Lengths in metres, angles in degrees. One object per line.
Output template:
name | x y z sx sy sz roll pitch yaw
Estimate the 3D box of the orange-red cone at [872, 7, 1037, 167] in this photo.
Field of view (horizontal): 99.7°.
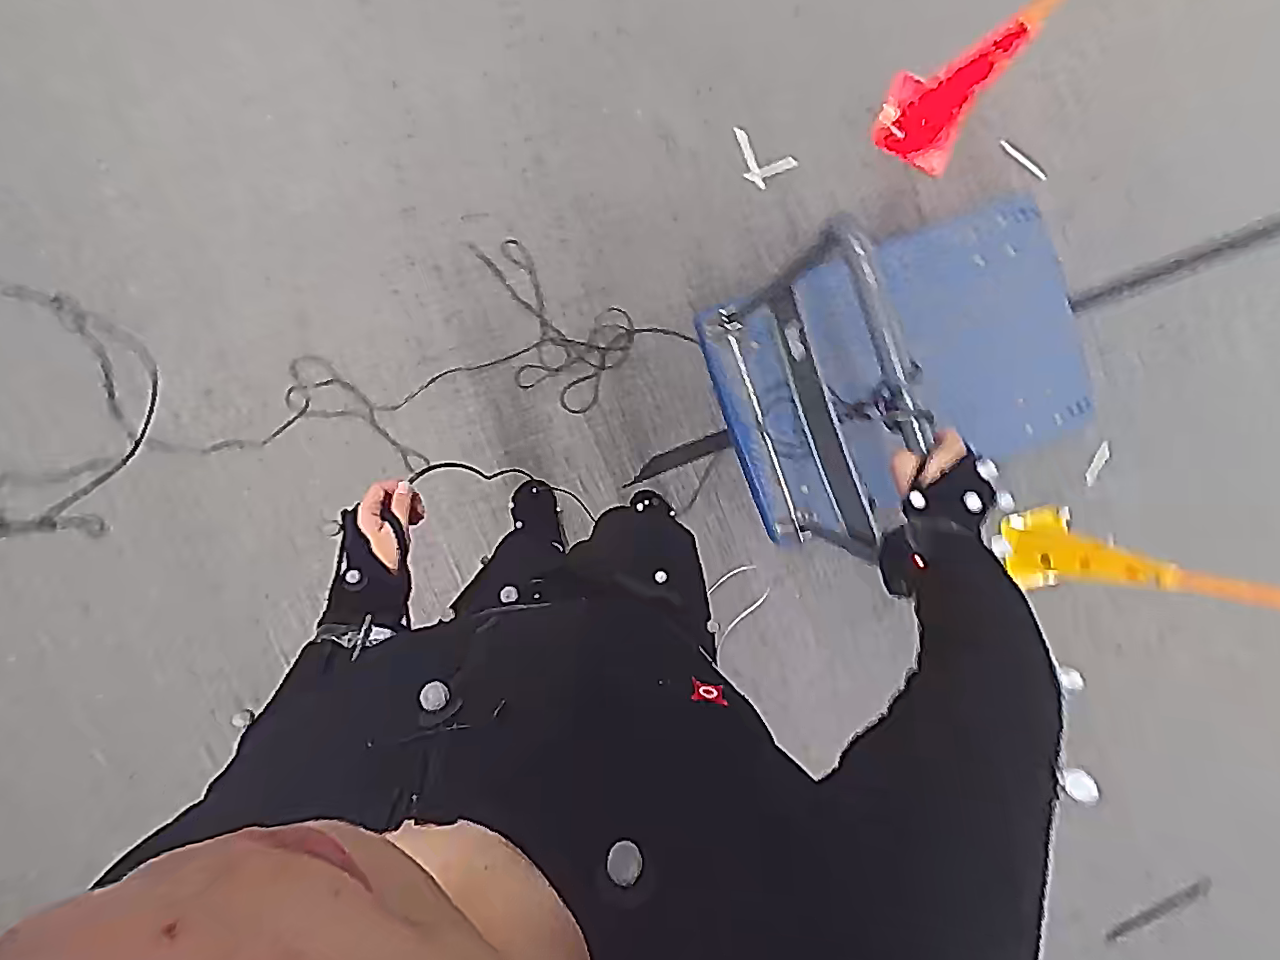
orange-red cone | 0.736 -0.920 1.226 0.199 0.360 0.198 23 92 -9
